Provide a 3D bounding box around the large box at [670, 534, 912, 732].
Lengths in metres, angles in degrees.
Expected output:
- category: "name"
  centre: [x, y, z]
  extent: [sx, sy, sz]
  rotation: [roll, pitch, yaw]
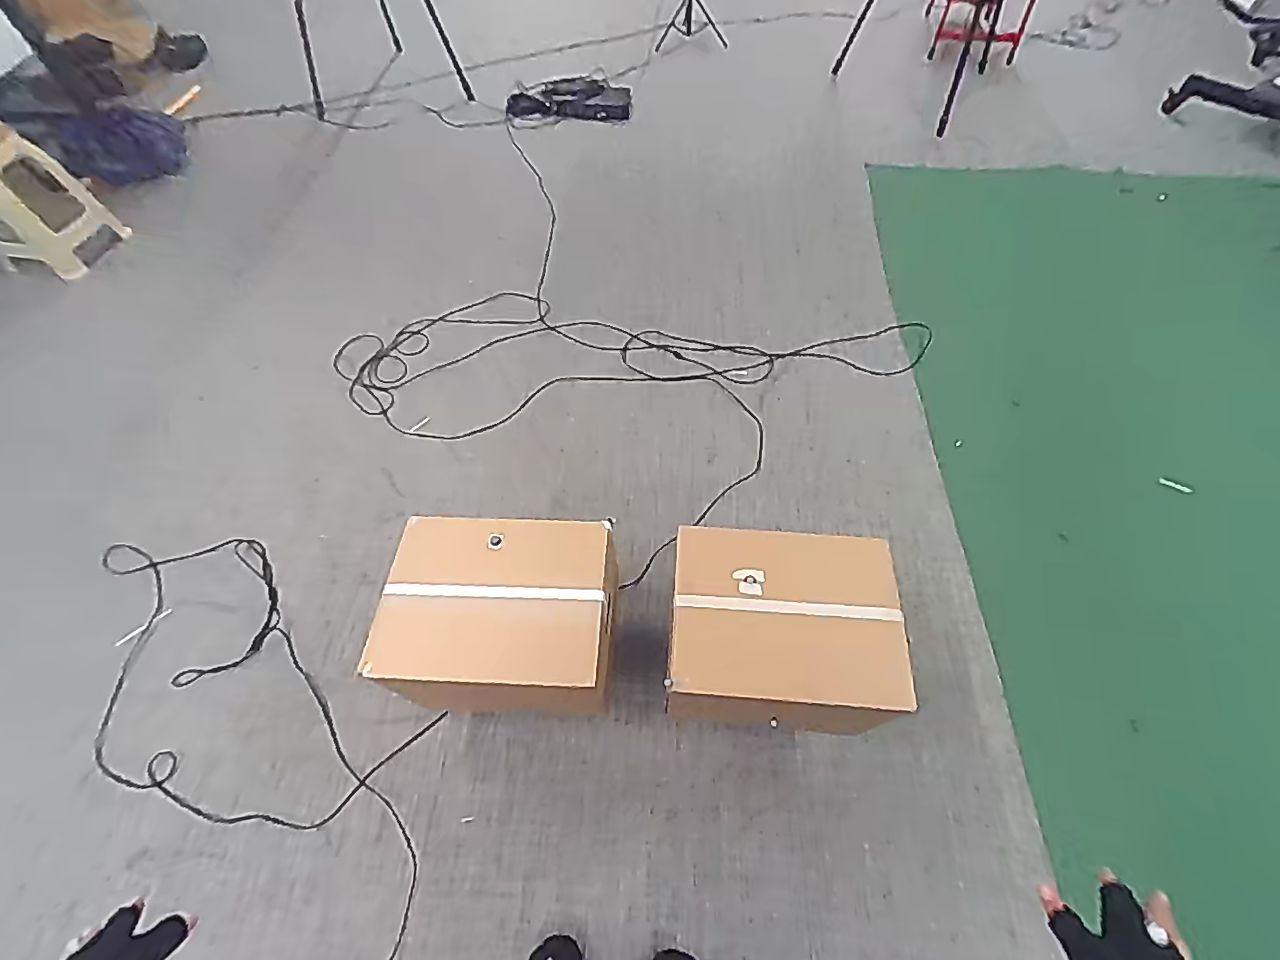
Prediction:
- category: "large box"
  centre: [0.272, 0.324, 1.111]
  extent: [0.408, 0.320, 0.320]
  rotation: [4, 58, 4]
